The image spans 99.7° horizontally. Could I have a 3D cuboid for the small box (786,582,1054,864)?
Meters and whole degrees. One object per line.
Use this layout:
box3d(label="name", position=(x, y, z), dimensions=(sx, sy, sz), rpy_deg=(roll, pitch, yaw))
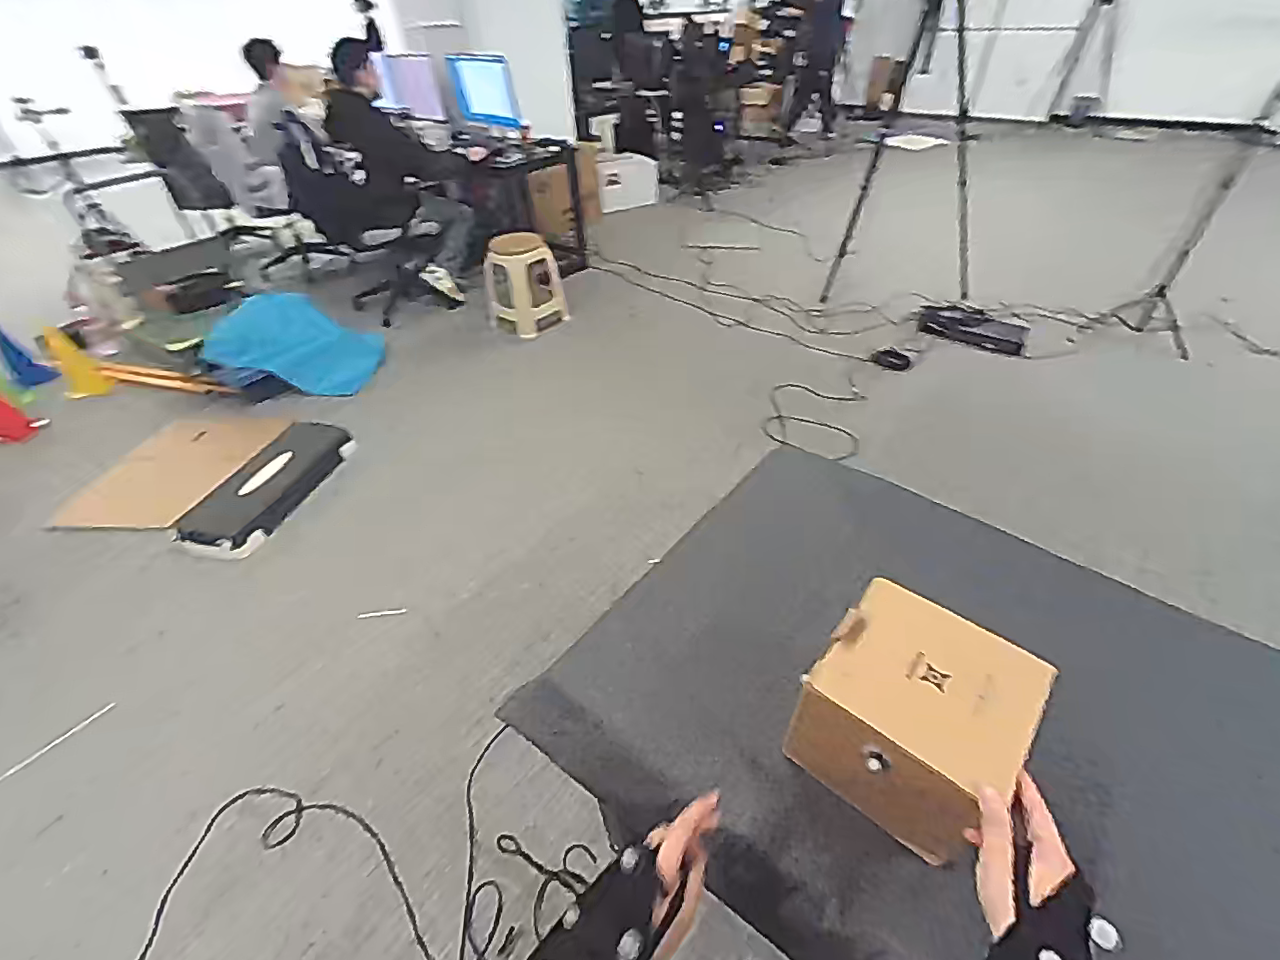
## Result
box3d(label="small box", position=(0.272, 0.247, 0.557), dimensions=(0.179, 0.176, 0.168), rpy_deg=(30, 51, 30))
